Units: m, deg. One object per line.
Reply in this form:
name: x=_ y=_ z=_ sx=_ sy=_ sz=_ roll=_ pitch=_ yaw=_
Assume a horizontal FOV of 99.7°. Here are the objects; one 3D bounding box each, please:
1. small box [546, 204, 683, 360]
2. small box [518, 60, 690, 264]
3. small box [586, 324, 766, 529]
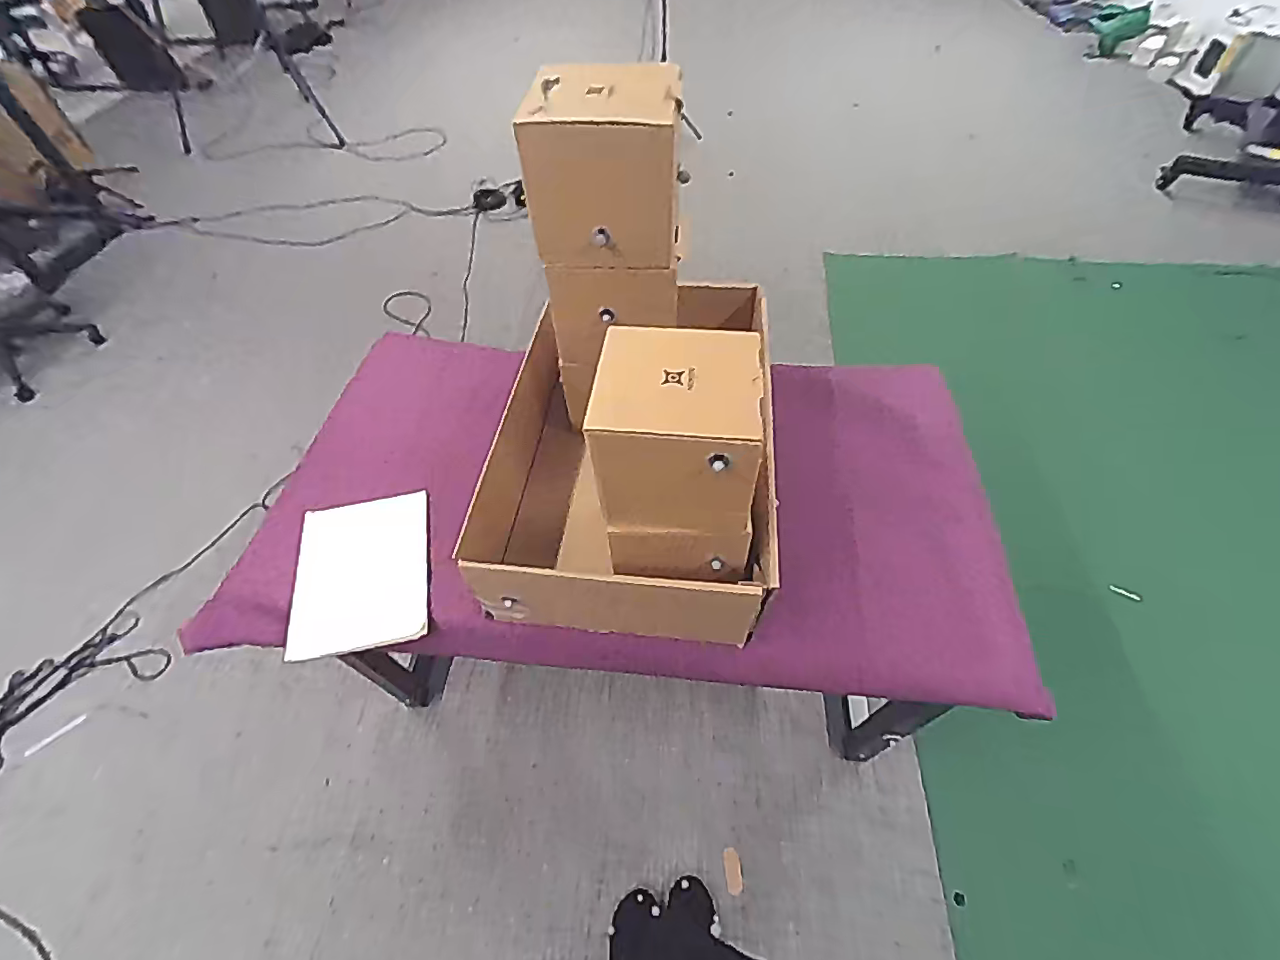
small box: x=-0.029 y=-0.292 z=0.807 sx=0.179 sy=0.176 sz=0.168 roll=2 pitch=54 yaw=4
small box: x=-0.035 y=-0.391 z=0.676 sx=0.179 sy=0.176 sz=0.168 roll=5 pitch=54 yaw=4
small box: x=0.045 y=-0.058 z=0.624 sx=0.179 sy=0.176 sz=0.168 roll=5 pitch=52 yaw=5
